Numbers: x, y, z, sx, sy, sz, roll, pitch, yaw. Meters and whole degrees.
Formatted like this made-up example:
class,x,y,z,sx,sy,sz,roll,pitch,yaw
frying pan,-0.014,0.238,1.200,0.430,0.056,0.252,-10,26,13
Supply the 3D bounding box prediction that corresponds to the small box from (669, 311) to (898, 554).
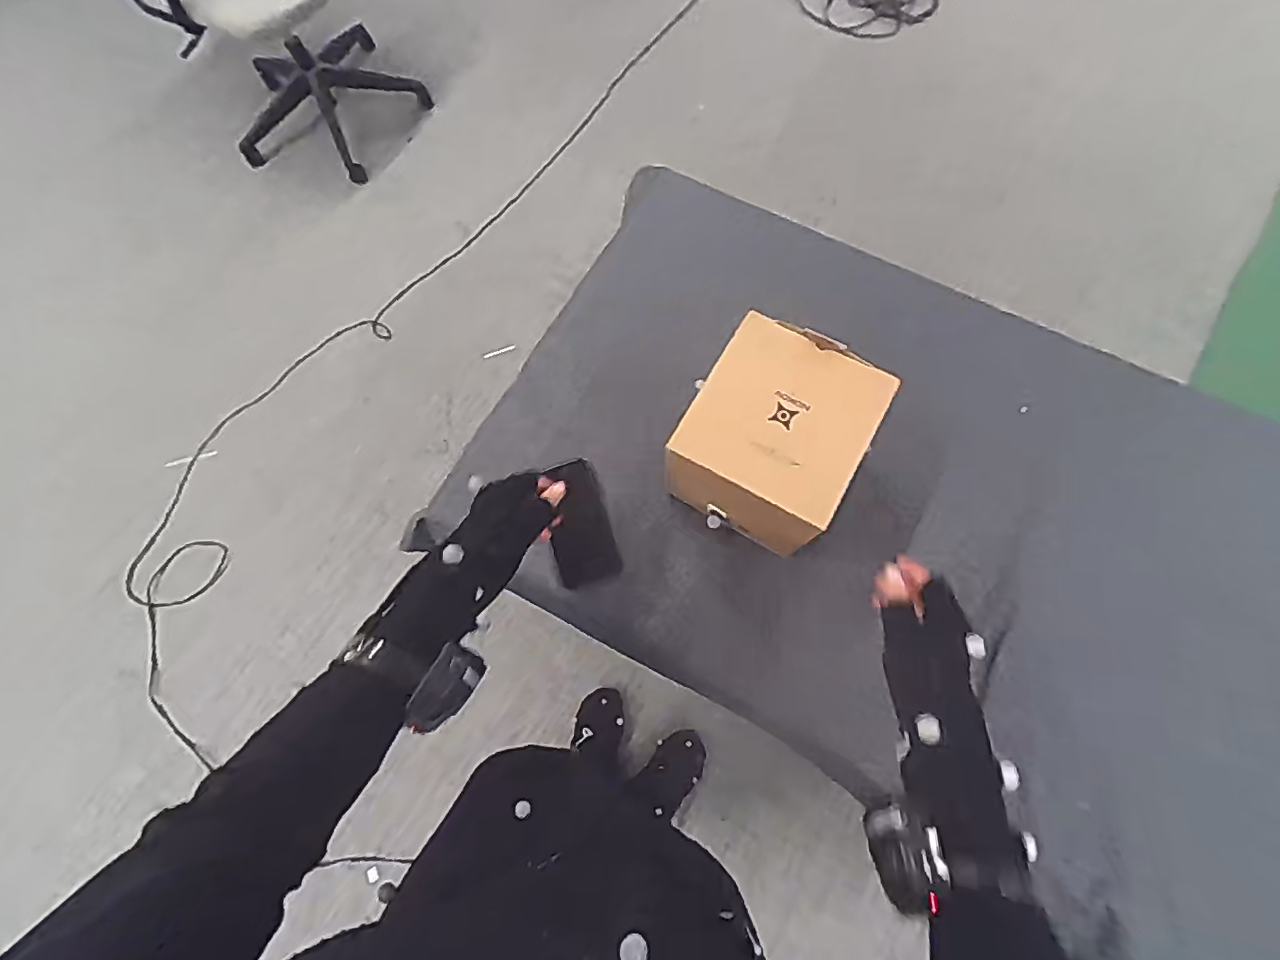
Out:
class,x,y,z,sx,sy,sz,roll,pitch,yaw
small box,0.141,-0.041,0.594,0.168,0.176,0.179,30,77,11
